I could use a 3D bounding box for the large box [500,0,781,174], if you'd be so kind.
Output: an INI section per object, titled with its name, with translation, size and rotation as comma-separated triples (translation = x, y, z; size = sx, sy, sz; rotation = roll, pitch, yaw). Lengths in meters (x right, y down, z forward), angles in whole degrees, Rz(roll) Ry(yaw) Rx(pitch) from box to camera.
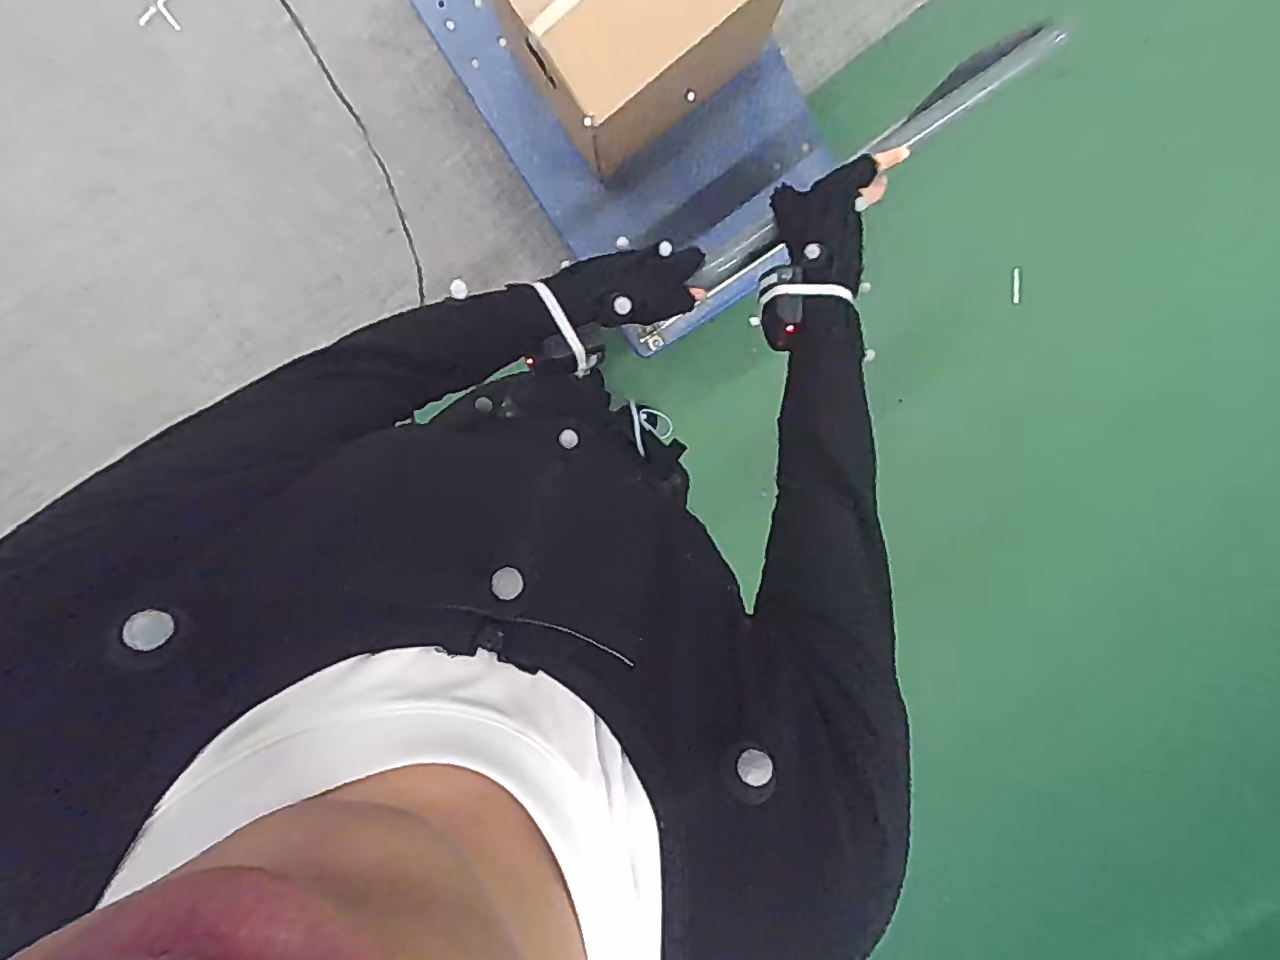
[large box]
translation = 0.003, -0.840, 0.950
size = 0.408, 0.320, 0.320
rotation = -36, 102, 8
